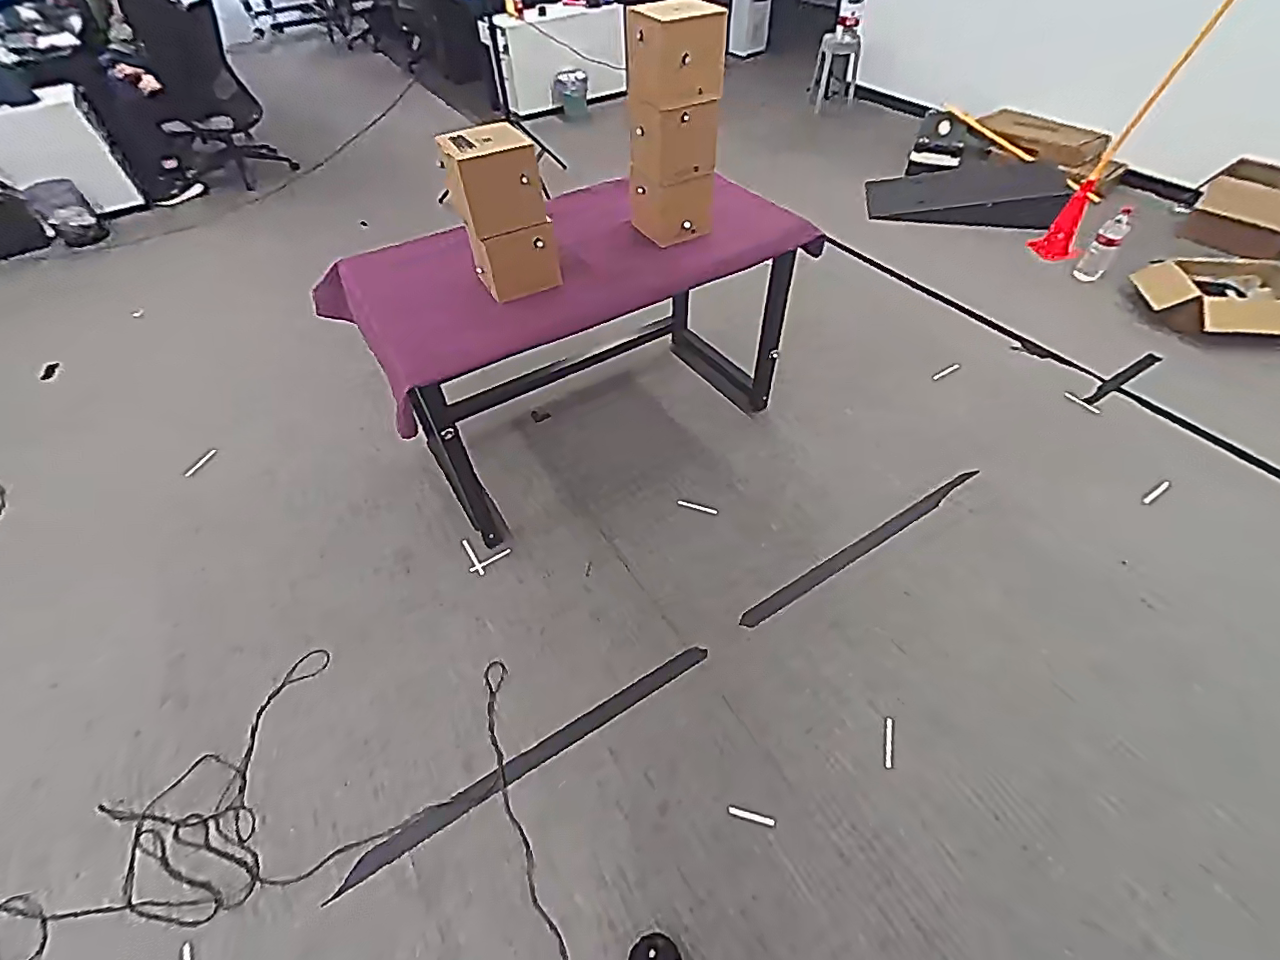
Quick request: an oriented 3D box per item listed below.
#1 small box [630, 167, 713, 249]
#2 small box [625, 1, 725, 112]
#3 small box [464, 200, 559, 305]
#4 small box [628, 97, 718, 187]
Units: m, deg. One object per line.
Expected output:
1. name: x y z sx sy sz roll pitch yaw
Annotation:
1. small box: 0.085 -0.778 1.517 0.168 0.176 0.179 -25 54 -17
2. small box: 0.080 -0.980 1.260 0.168 0.176 0.179 -24 53 -16
3. small box: -0.315 -0.570 1.361 0.179 0.176 0.168 -25 53 -17
4. small box: 0.082 -0.880 1.389 0.168 0.176 0.179 -23 52 -15
